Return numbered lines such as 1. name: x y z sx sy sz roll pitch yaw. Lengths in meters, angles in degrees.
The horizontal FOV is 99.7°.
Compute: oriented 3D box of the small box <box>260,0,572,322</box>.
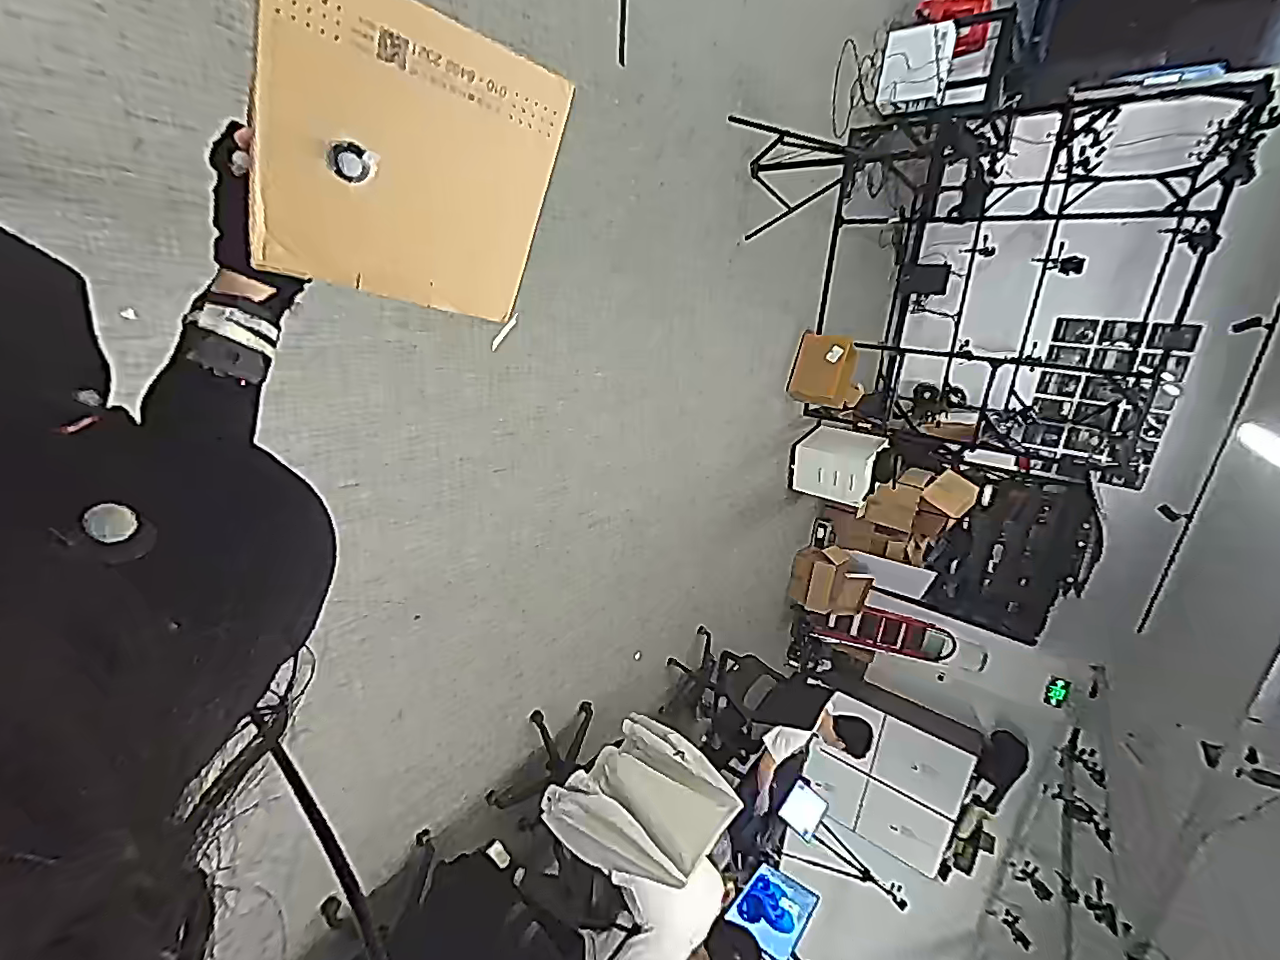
1. small box: -0.165 -0.242 0.387 0.168 0.179 0.176 6 124 -35
